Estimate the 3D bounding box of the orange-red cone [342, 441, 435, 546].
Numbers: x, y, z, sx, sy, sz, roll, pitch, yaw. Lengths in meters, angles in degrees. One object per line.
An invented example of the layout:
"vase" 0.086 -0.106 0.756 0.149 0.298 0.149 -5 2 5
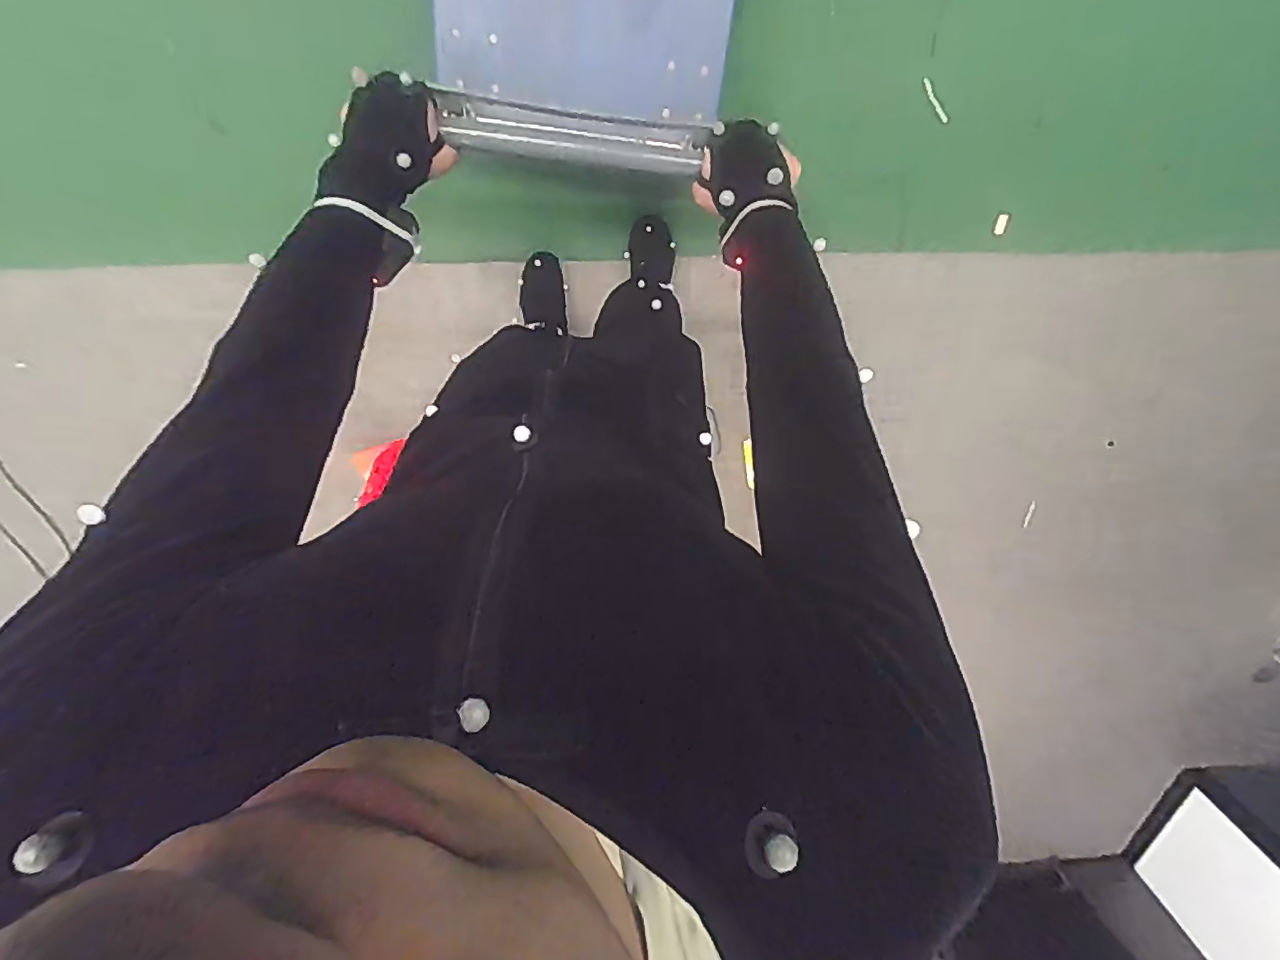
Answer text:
"orange-red cone" -0.736 0.067 1.497 0.199 0.360 0.198 -14 118 4
